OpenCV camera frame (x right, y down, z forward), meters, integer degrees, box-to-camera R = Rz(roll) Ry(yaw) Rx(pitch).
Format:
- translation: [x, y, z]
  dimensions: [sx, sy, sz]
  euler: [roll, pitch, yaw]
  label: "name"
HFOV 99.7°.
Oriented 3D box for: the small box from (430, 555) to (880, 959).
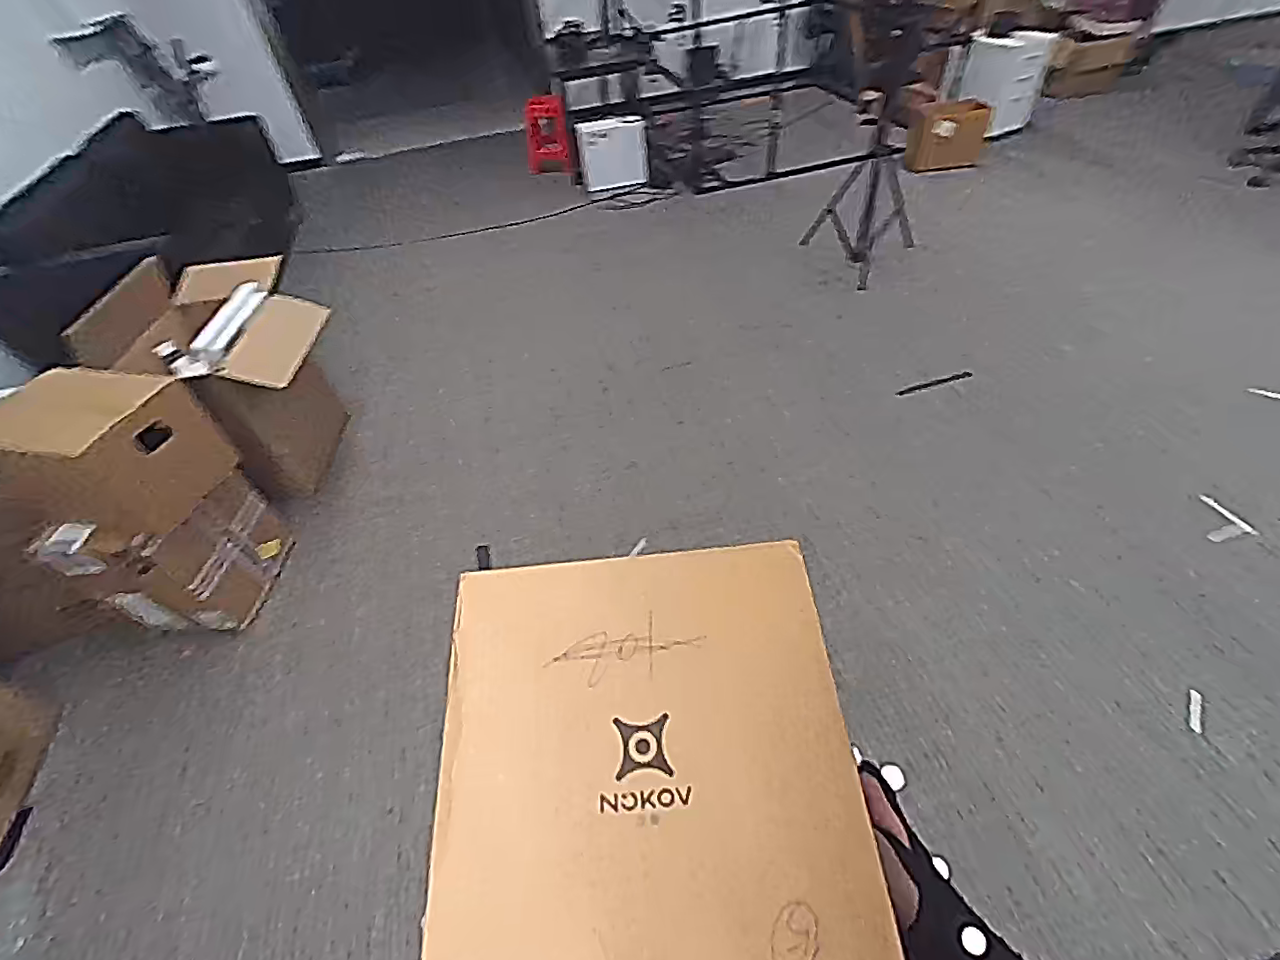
- translation: [0.005, 0.159, 0.296]
  dimensions: [0.168, 0.176, 0.179]
  euler: [-5, 58, 0]
  label: "small box"
